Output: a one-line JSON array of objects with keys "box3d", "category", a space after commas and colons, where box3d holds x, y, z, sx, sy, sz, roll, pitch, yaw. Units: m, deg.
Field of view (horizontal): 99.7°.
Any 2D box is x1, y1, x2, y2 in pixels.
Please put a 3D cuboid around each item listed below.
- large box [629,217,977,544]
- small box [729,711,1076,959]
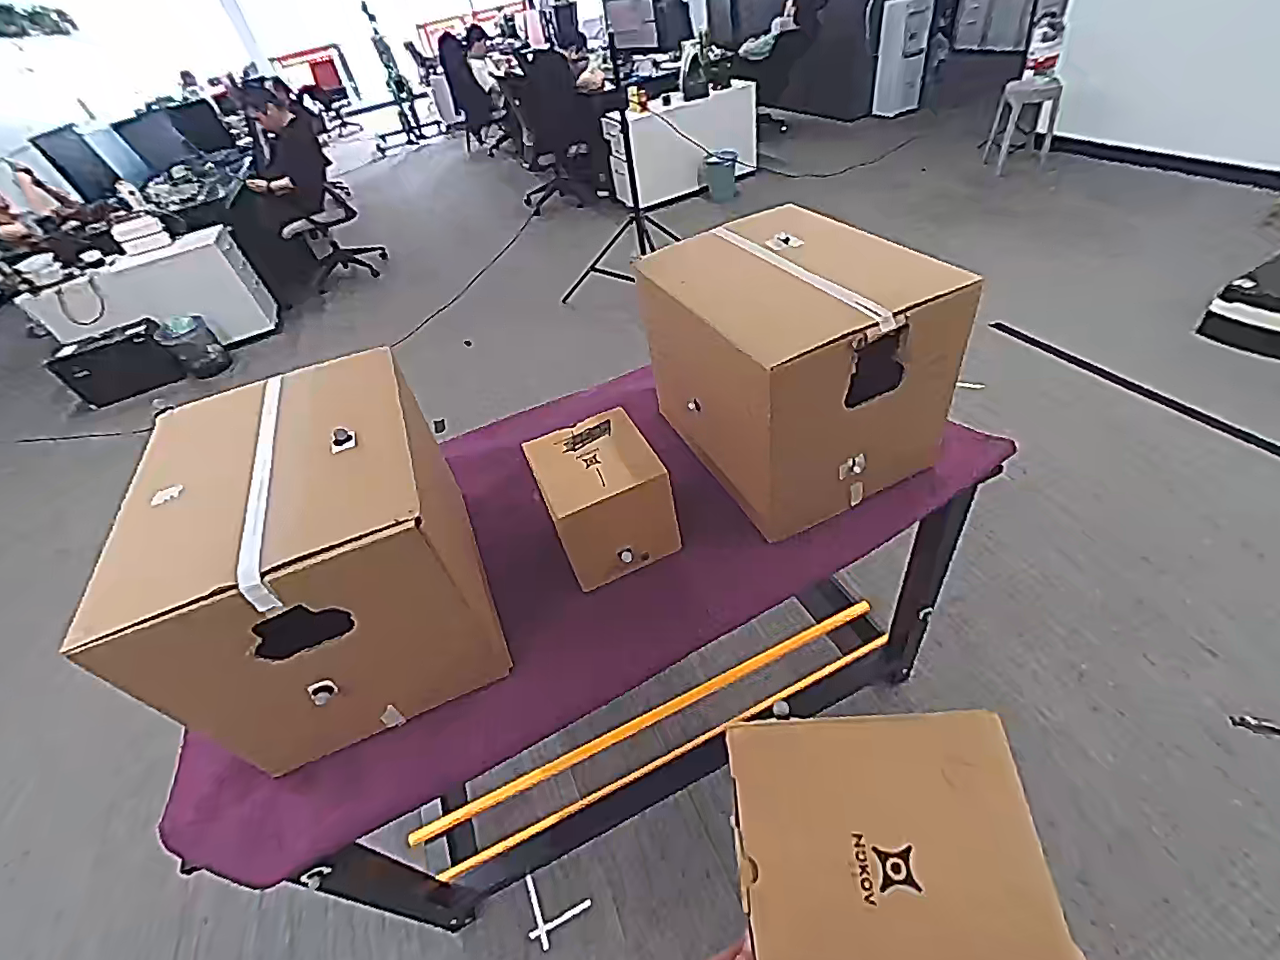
[{"box3d": [0.227, -0.176, 0.868, 0.320, 0.320, 0.408, -24, 43, -11], "category": "large box"}, {"box3d": [0.166, 0.263, 0.395, 0.179, 0.176, 0.168, -9, 63, 10], "category": "small box"}]
